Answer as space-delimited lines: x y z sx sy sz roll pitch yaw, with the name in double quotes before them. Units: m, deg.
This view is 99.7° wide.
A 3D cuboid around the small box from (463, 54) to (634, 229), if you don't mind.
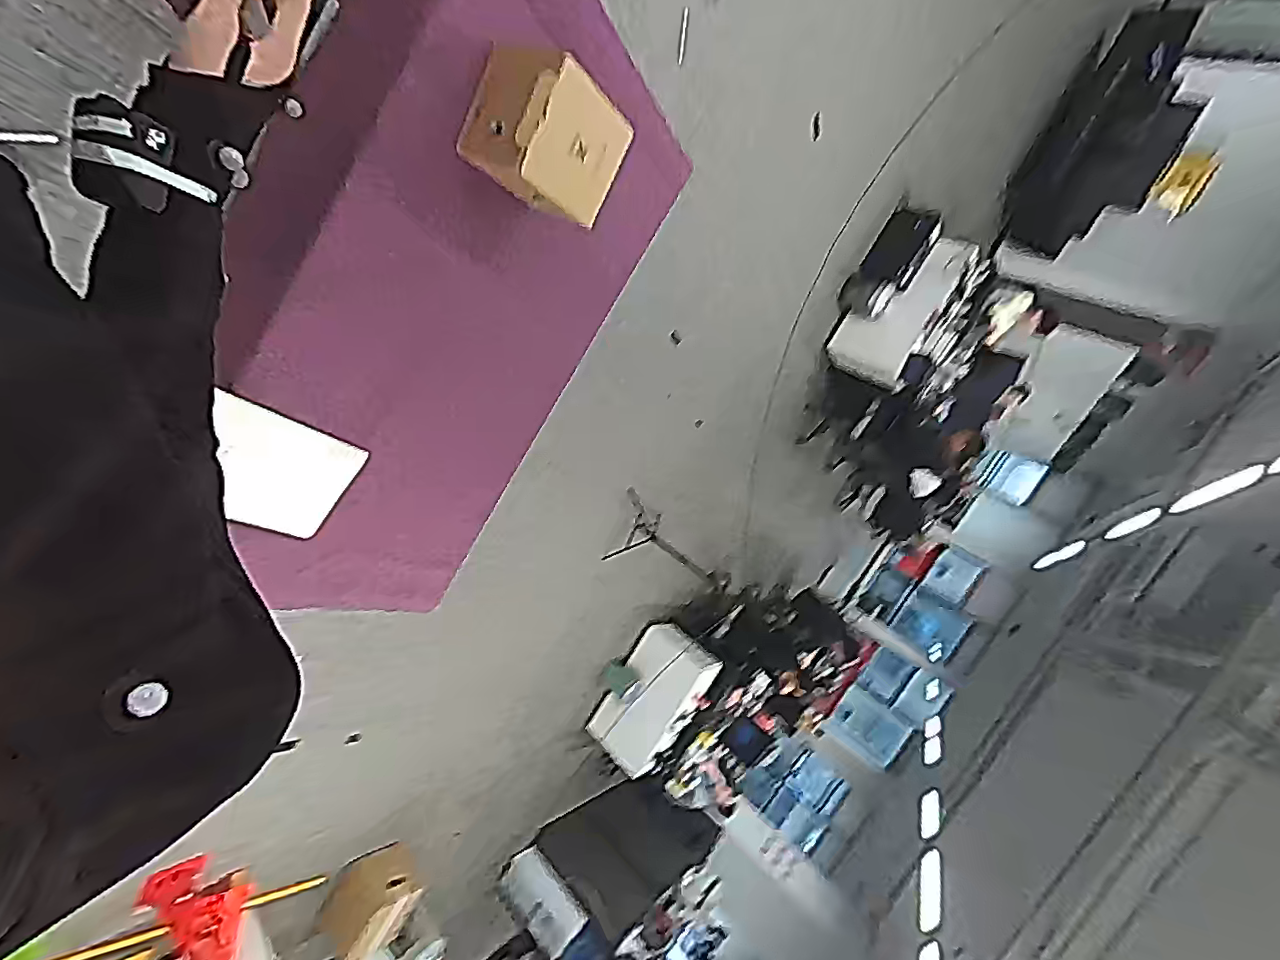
"small box" -0.149 -0.538 0.864 0.179 0.176 0.168 10 112 -58
